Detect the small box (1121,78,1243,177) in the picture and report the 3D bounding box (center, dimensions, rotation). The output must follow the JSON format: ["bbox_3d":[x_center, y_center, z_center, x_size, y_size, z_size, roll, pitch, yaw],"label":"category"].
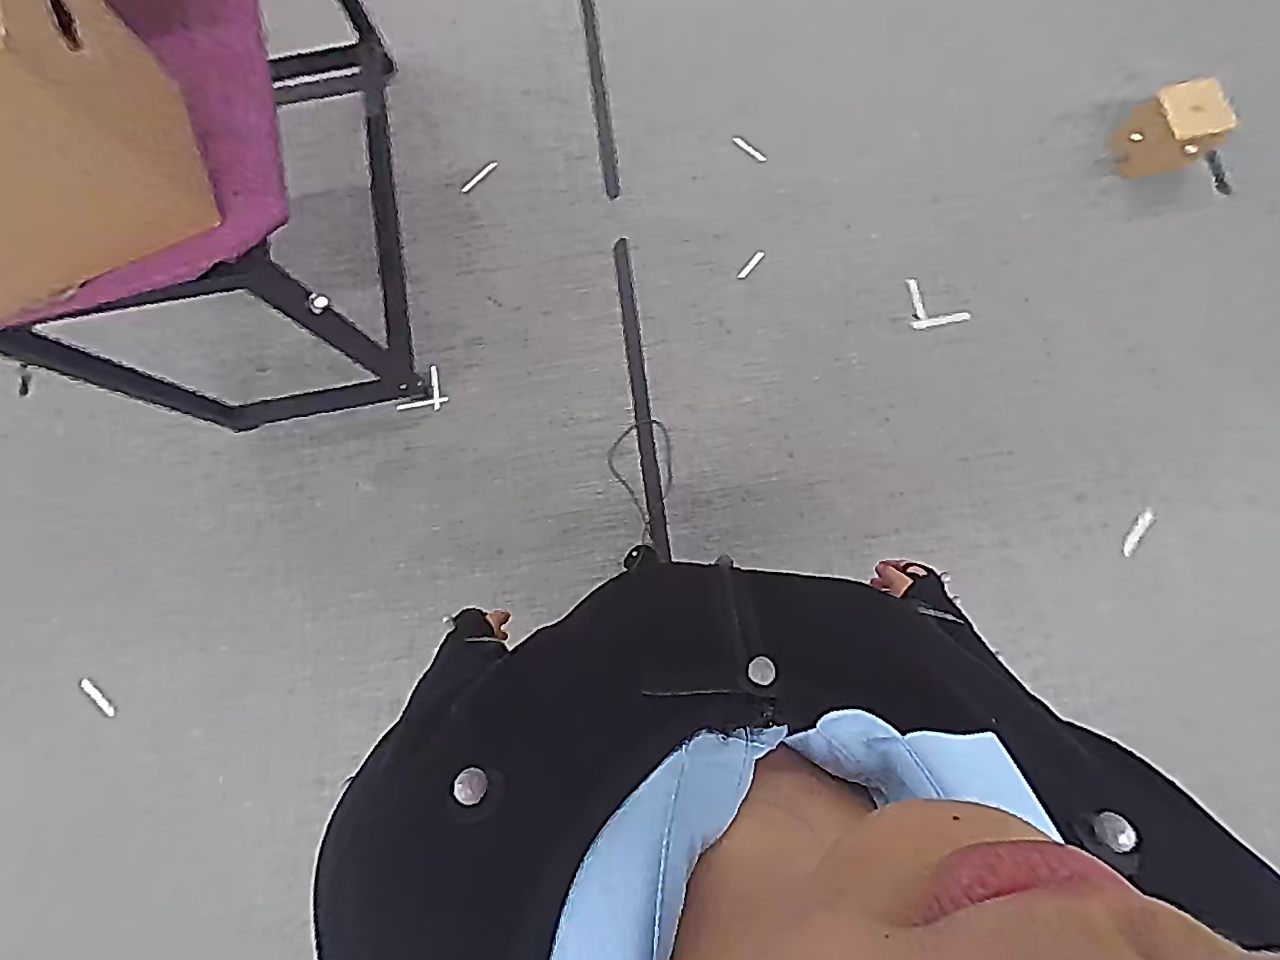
[{"bbox_3d":[1.564,-1.018,1.577,0.179,0.176,0.168,-10,81,0],"label":"small box"}]
